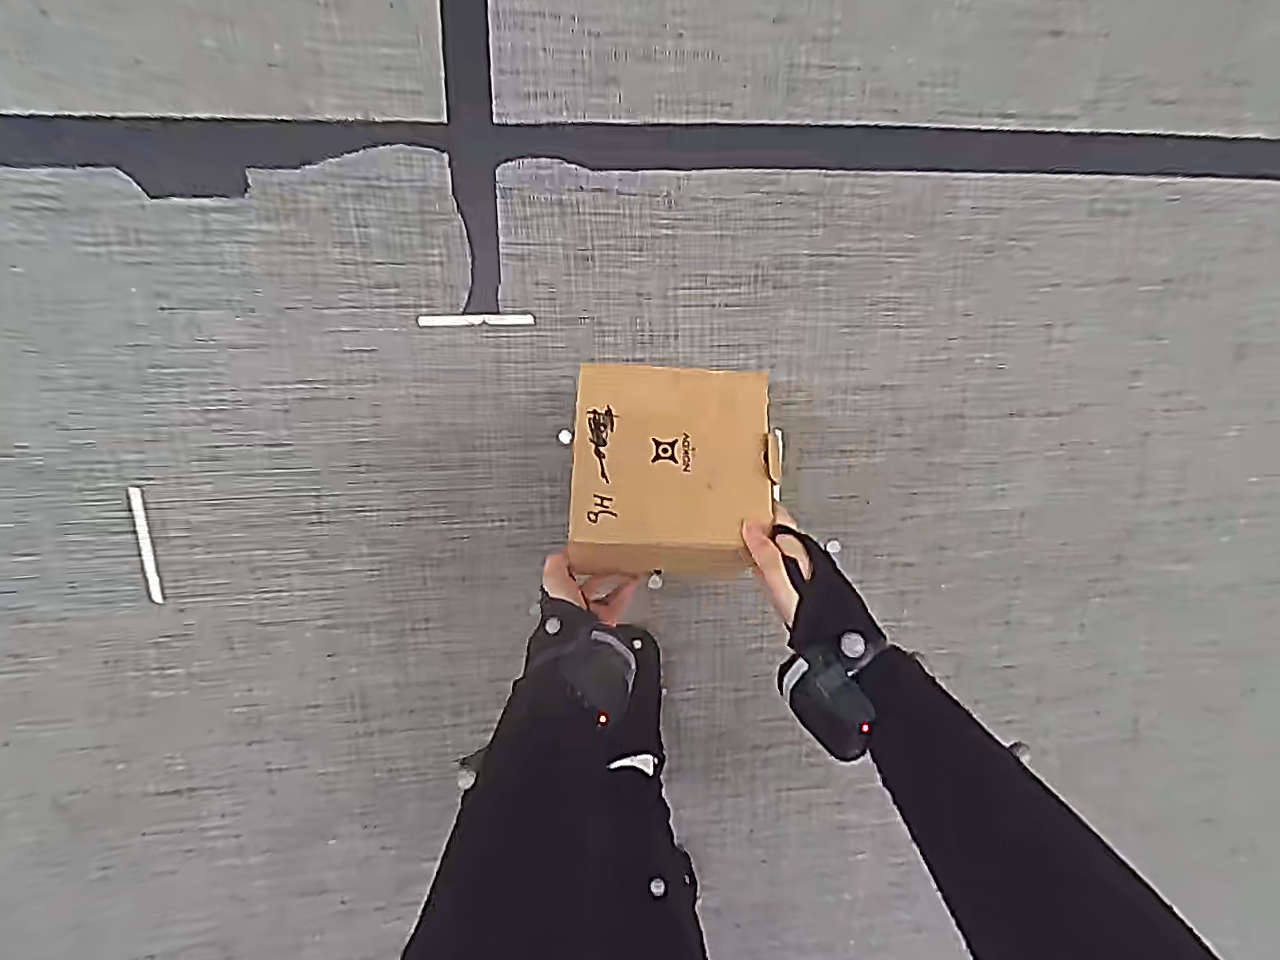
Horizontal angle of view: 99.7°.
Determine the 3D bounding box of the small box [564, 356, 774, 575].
[{"bbox_3d":[0.018,-0.002,0.539,0.179,0.176,0.168,3,70,-6],"label":"small box"}]
